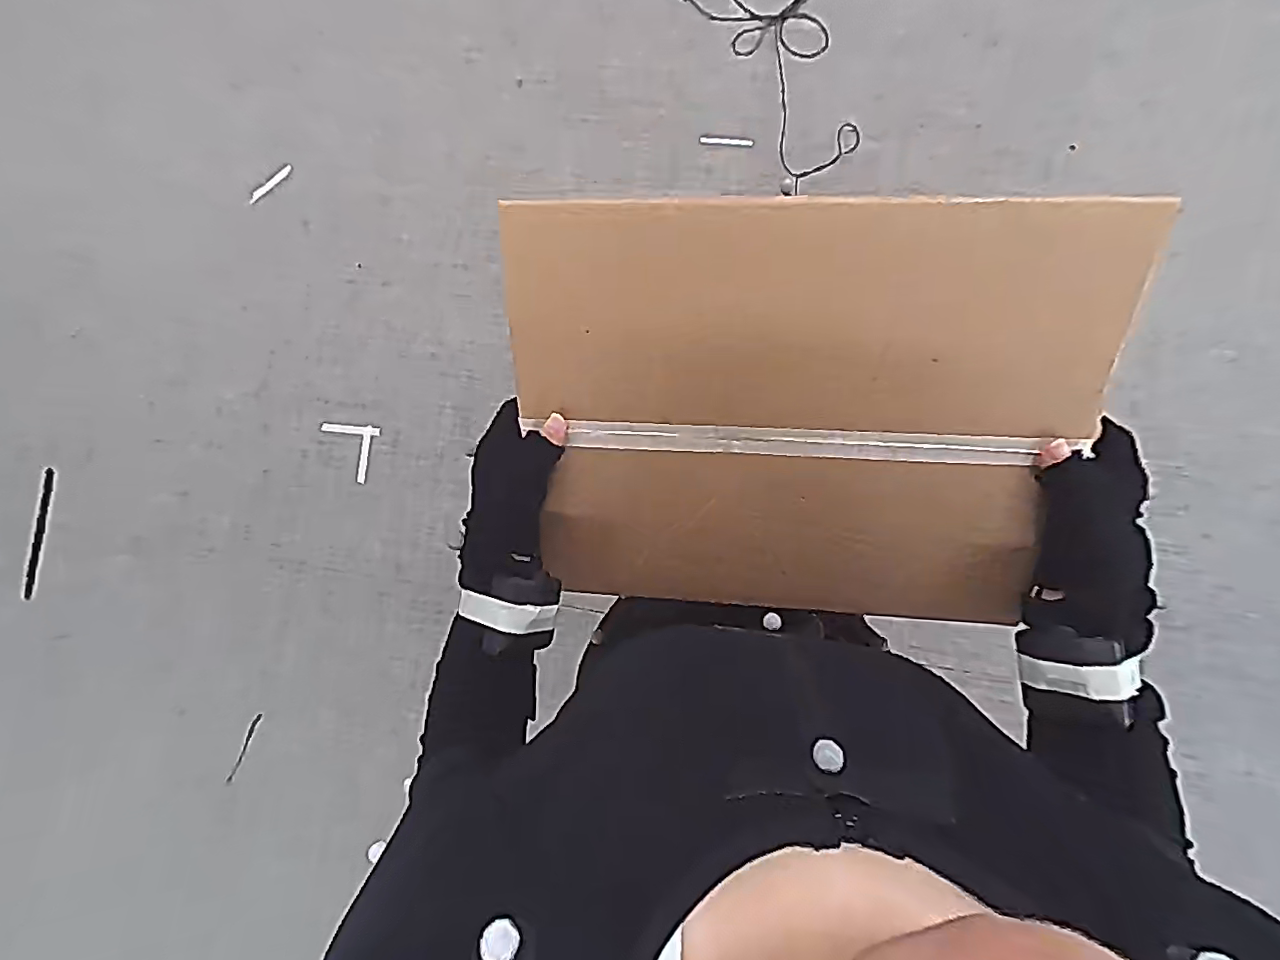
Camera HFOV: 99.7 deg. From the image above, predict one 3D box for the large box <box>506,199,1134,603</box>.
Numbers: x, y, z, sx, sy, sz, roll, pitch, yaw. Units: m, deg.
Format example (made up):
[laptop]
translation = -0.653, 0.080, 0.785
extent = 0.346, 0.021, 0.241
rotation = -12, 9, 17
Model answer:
[large box]
translation = 0.125, -0.104, 0.546
extent = 0.408, 0.320, 0.320
rotation = 3, 117, 6
